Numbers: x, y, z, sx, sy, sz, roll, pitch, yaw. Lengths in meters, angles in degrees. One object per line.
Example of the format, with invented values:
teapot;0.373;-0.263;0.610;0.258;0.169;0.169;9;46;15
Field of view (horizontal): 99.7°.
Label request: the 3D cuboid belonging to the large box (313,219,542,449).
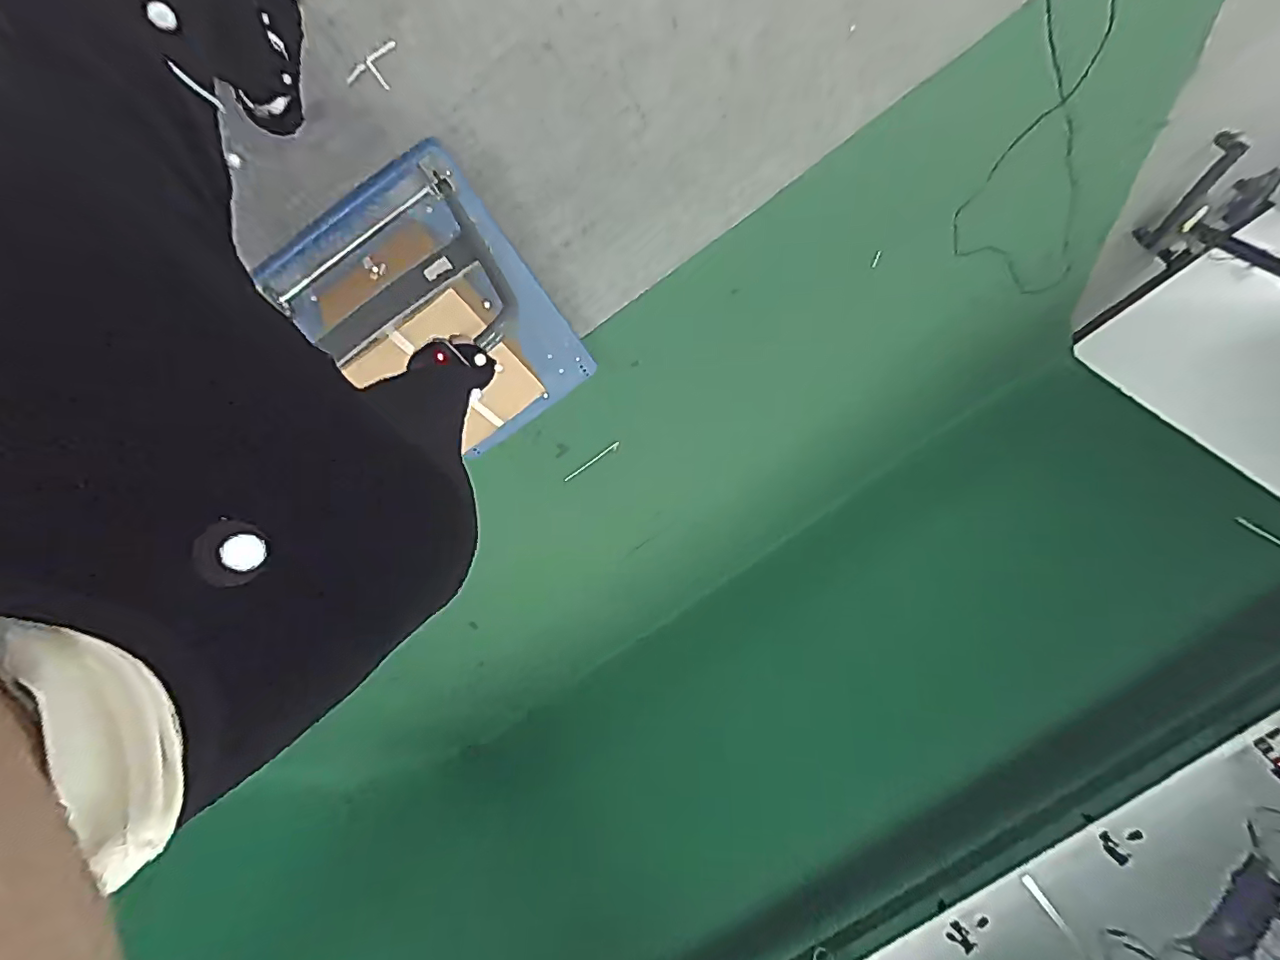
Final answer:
large box;-0.527;-0.354;1.371;0.320;0.320;0.408;-35;149;4
